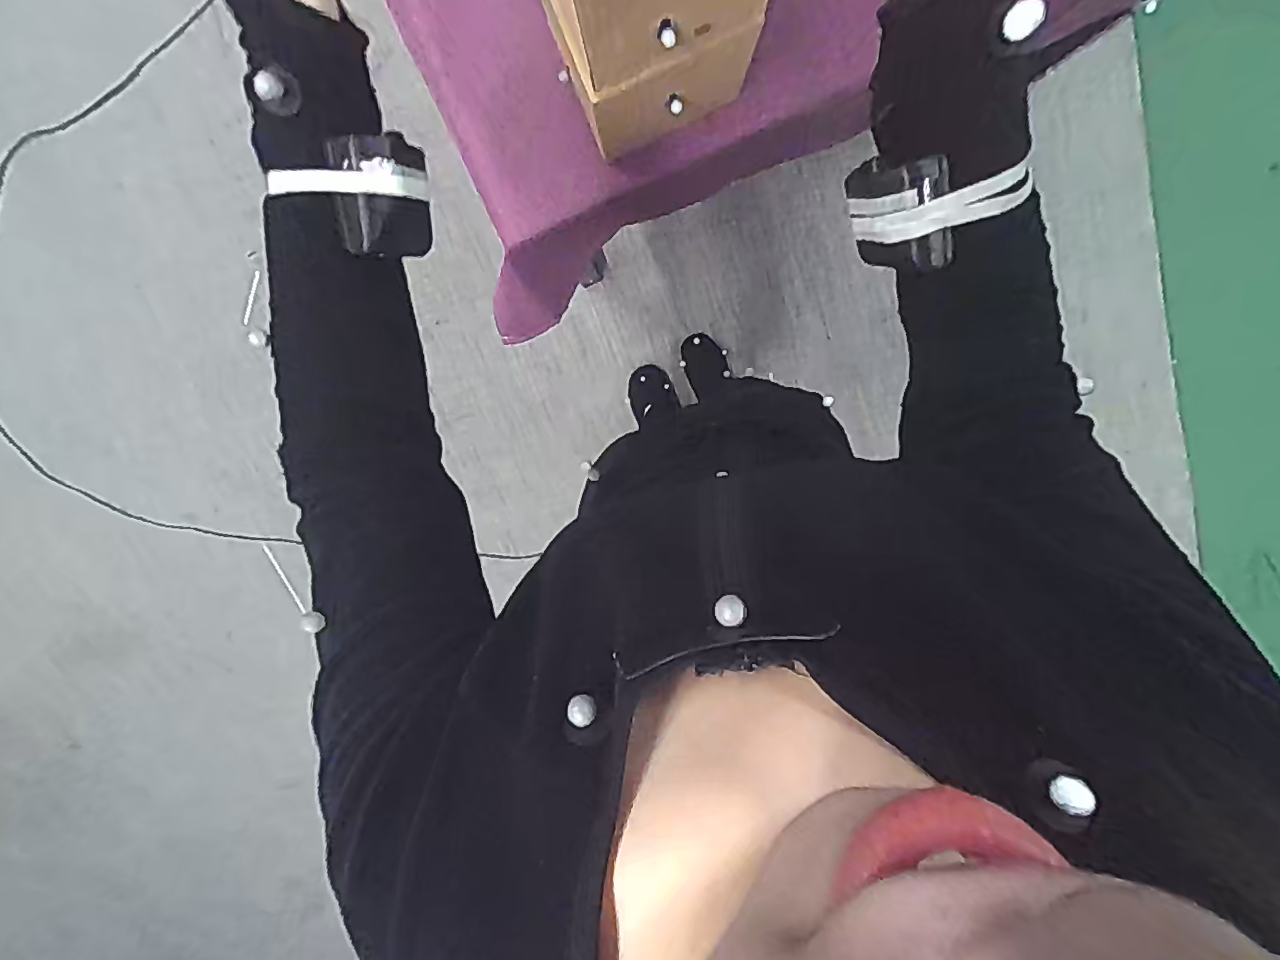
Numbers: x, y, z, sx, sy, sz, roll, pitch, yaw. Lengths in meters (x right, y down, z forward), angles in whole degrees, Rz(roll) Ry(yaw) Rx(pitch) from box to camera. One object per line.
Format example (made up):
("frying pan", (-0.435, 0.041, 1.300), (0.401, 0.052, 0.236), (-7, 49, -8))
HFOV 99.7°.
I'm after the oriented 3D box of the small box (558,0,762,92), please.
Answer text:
("small box", (0.000, -0.443, 0.400), (0.168, 0.176, 0.179), (-22, 103, 6))
